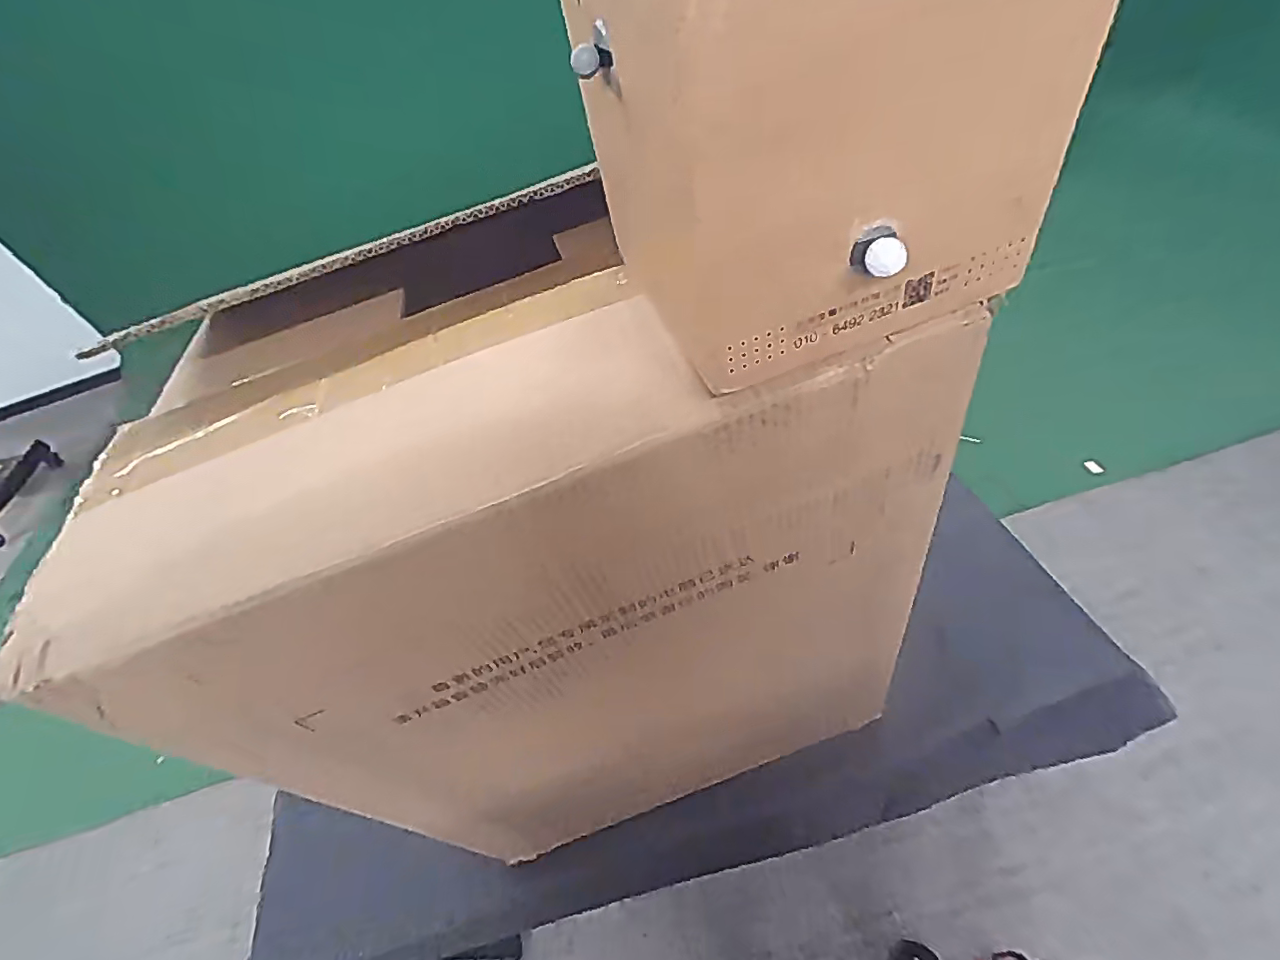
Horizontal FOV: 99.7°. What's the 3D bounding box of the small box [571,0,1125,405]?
[{"bbox_3d":[0.074,-0.168,0.269,0.168,0.176,0.179,-20,48,-3],"label":"small box"}]
